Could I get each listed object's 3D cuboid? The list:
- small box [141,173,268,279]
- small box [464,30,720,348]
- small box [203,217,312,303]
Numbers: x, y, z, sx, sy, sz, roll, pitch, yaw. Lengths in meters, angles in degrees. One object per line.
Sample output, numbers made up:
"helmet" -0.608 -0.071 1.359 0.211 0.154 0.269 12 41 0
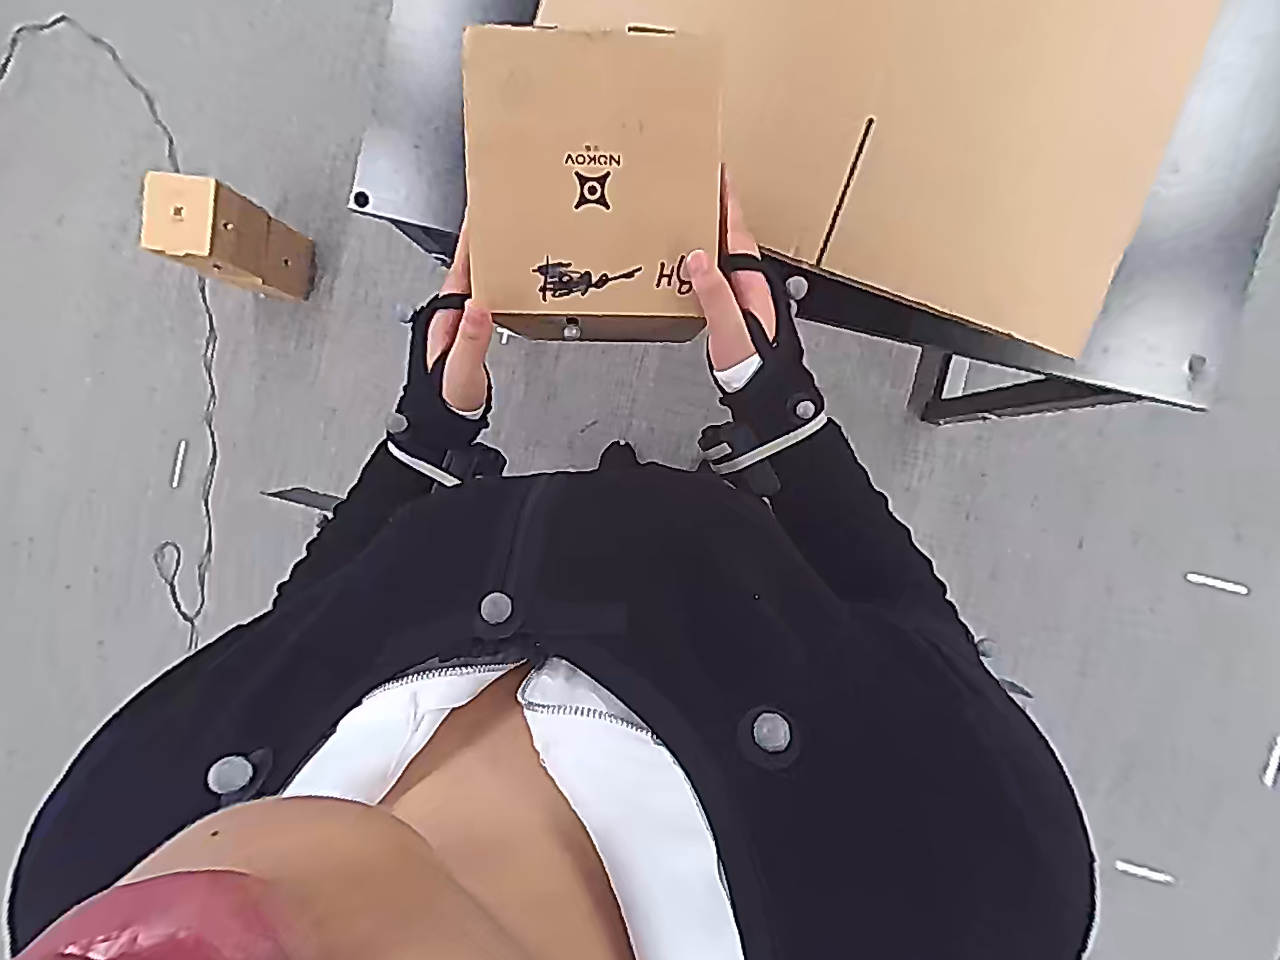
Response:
"small box" -1.030 -0.597 1.292 0.168 0.176 0.179 8 92 3
"small box" -0.033 -0.206 0.430 0.168 0.176 0.179 0 98 0
"small box" -1.020 -0.598 1.455 0.168 0.176 0.179 11 94 3
